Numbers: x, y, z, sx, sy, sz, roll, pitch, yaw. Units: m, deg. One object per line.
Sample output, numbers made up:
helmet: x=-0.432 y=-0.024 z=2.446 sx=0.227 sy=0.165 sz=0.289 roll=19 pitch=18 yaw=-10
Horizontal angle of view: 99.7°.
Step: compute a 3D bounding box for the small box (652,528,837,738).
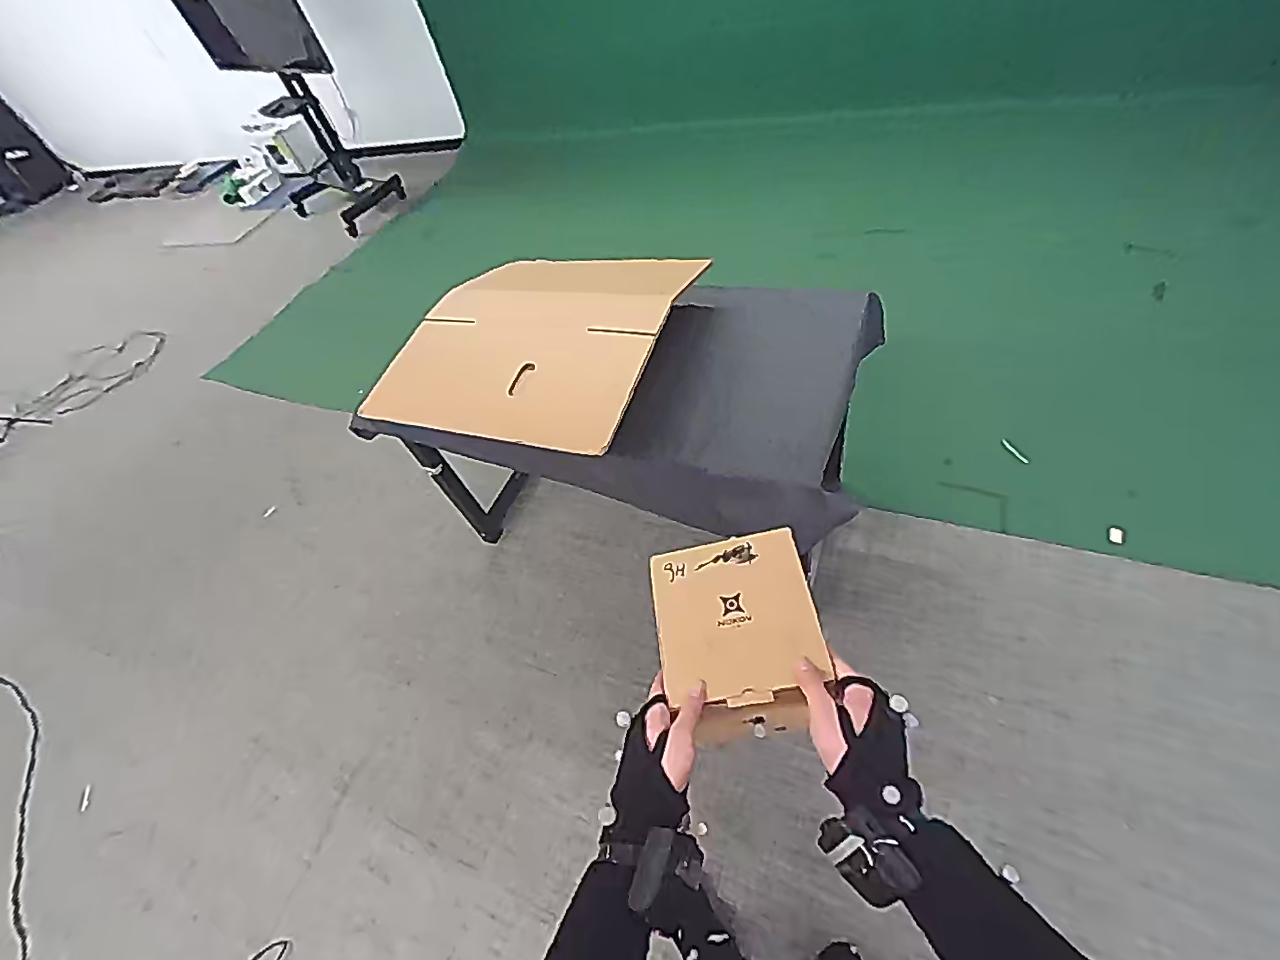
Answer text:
small box: x=0.124 y=0.188 z=0.635 sx=0.168 sy=0.176 sz=0.179 roll=-16 pitch=50 yaw=8
